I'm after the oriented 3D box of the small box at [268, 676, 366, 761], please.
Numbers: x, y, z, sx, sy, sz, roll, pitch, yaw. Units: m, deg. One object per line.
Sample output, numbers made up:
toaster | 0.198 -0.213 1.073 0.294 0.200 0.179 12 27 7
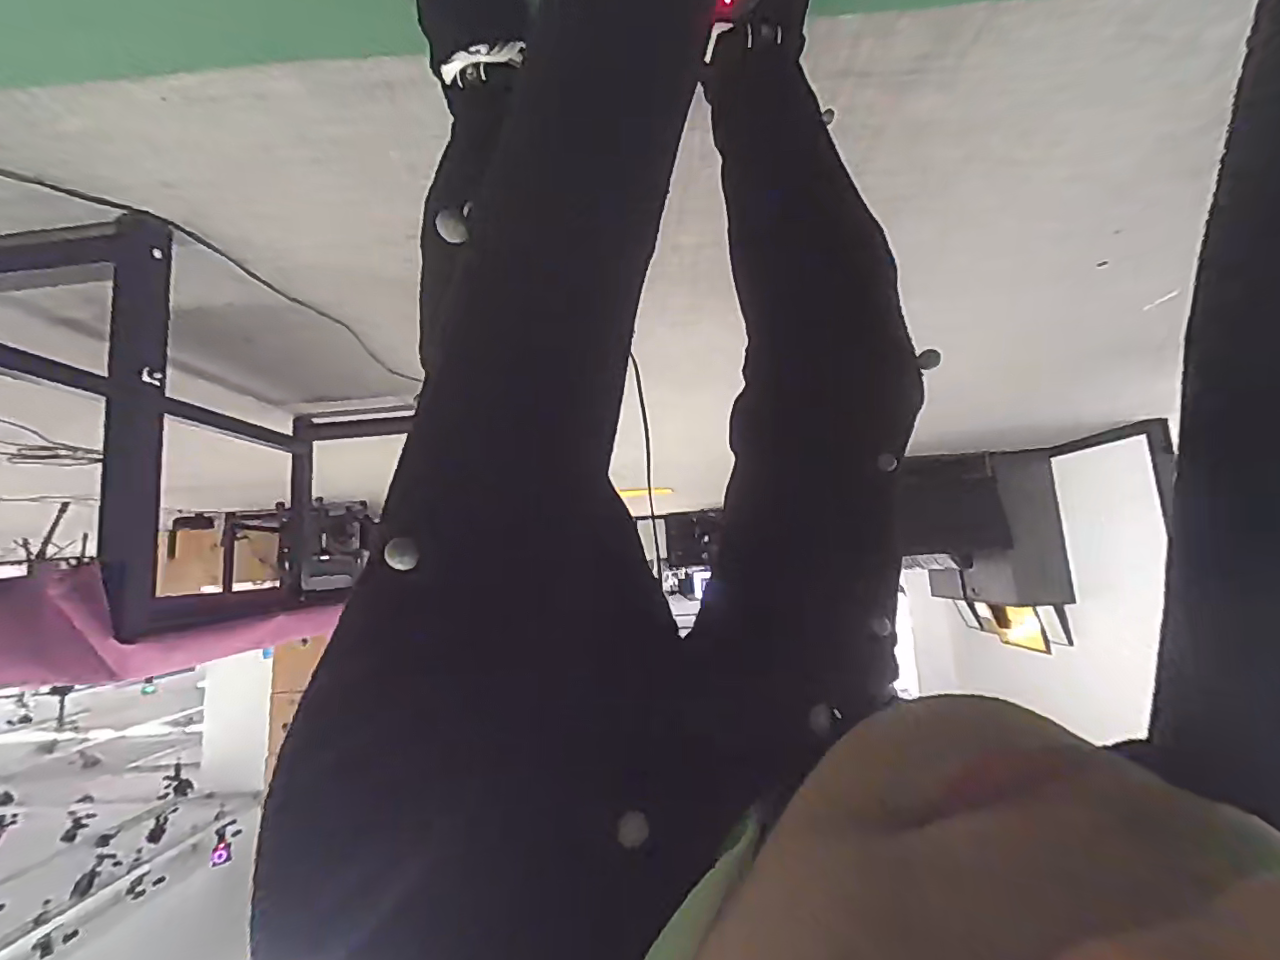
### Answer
small box | -0.861 0.635 1.452 0.168 0.176 0.179 -3 171 3
